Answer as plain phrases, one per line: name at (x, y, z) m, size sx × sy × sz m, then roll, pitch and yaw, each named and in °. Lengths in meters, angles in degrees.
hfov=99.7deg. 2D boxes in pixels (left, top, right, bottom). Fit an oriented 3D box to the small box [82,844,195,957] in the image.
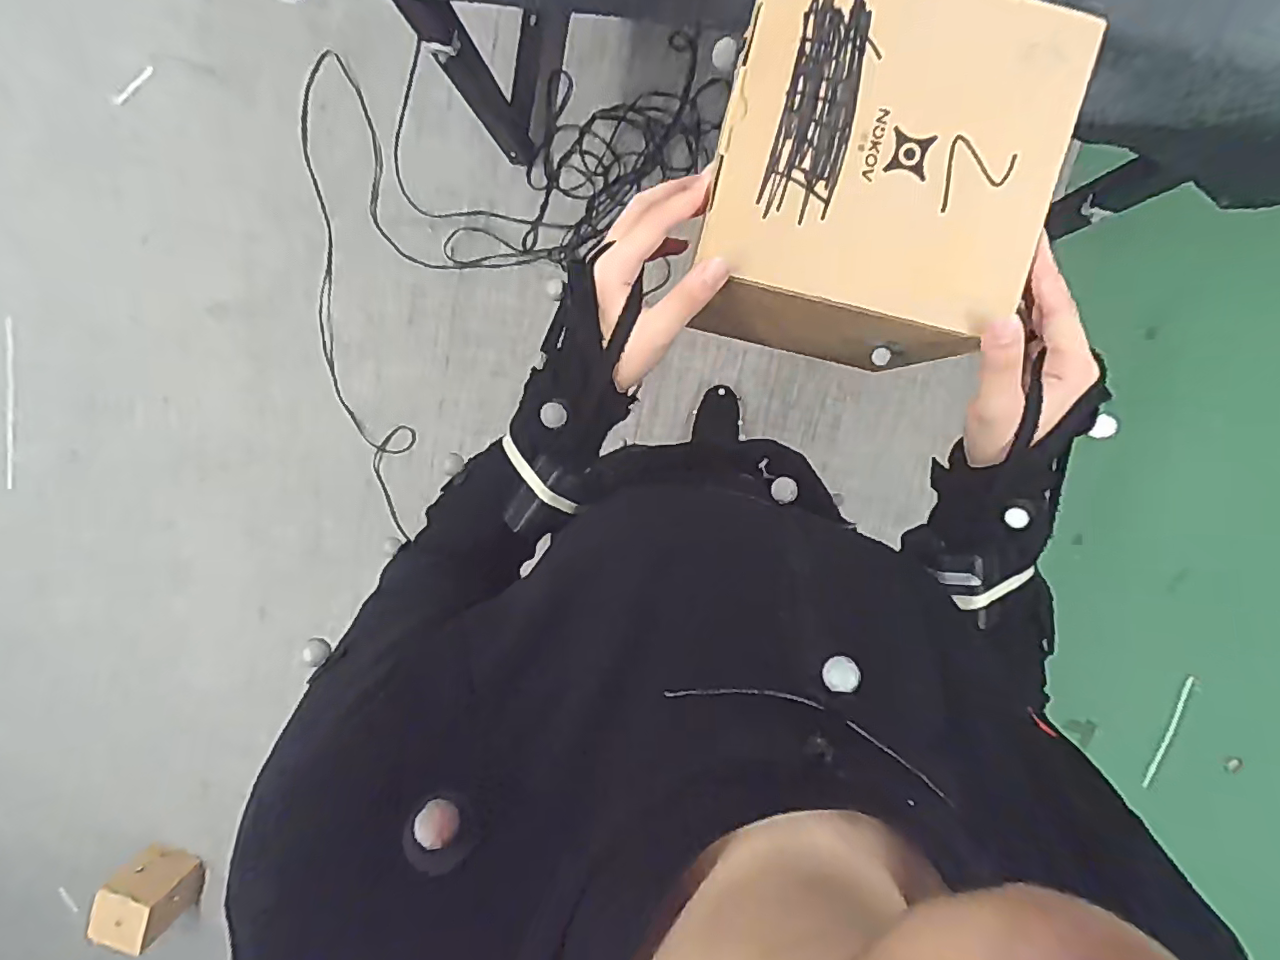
small box at (-1.458, 1.220, 1.581) m, size 0.168 × 0.176 × 0.179 m, roll 19°, pitch 100°, yaw 3°
